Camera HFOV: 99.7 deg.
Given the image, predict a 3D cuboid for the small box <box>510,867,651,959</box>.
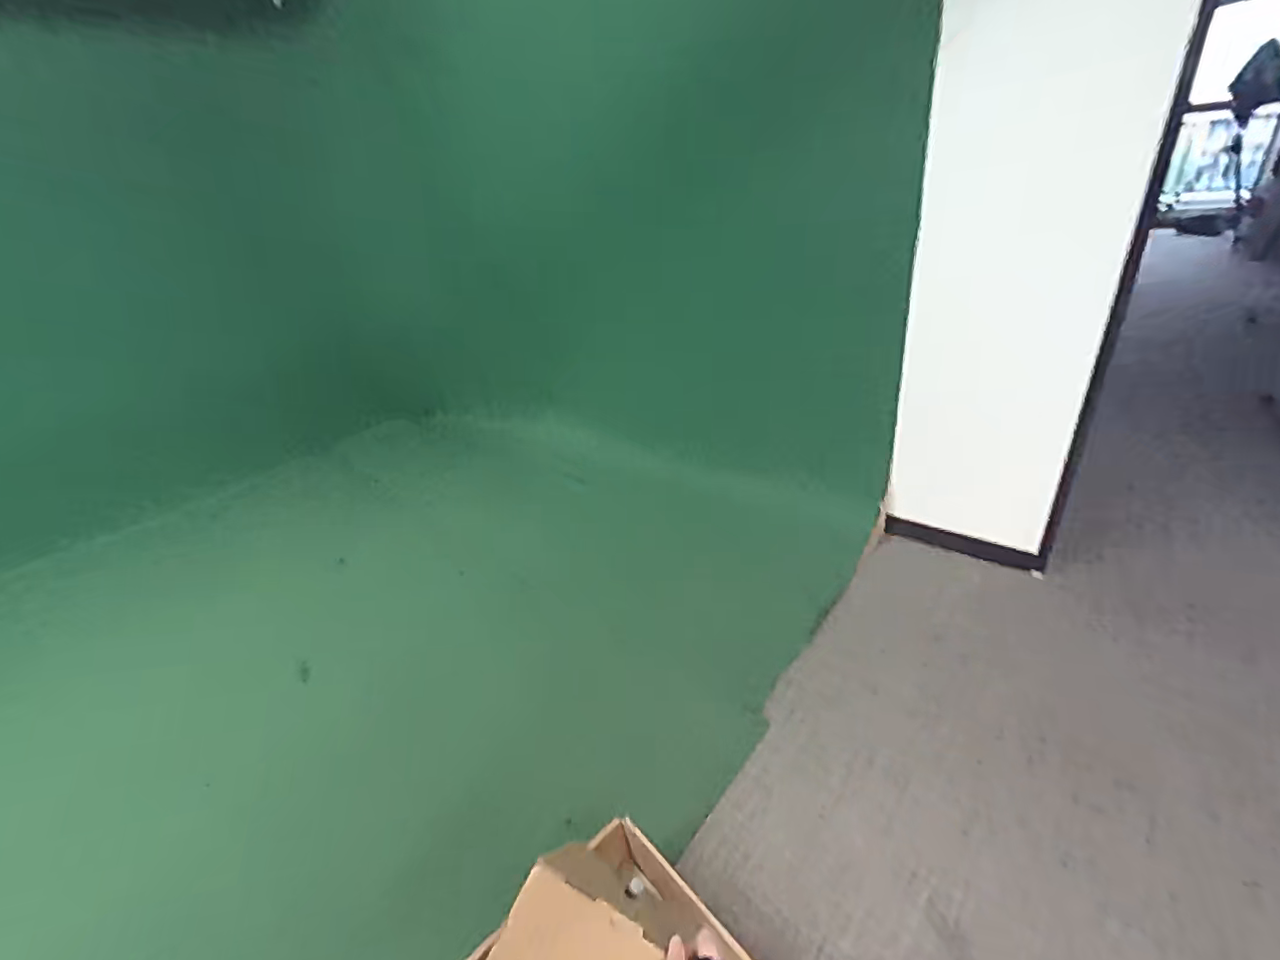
[{"bbox_3d":[-0.085,0.810,0.895,0.179,0.176,0.168,-27,36,-30],"label":"small box"}]
